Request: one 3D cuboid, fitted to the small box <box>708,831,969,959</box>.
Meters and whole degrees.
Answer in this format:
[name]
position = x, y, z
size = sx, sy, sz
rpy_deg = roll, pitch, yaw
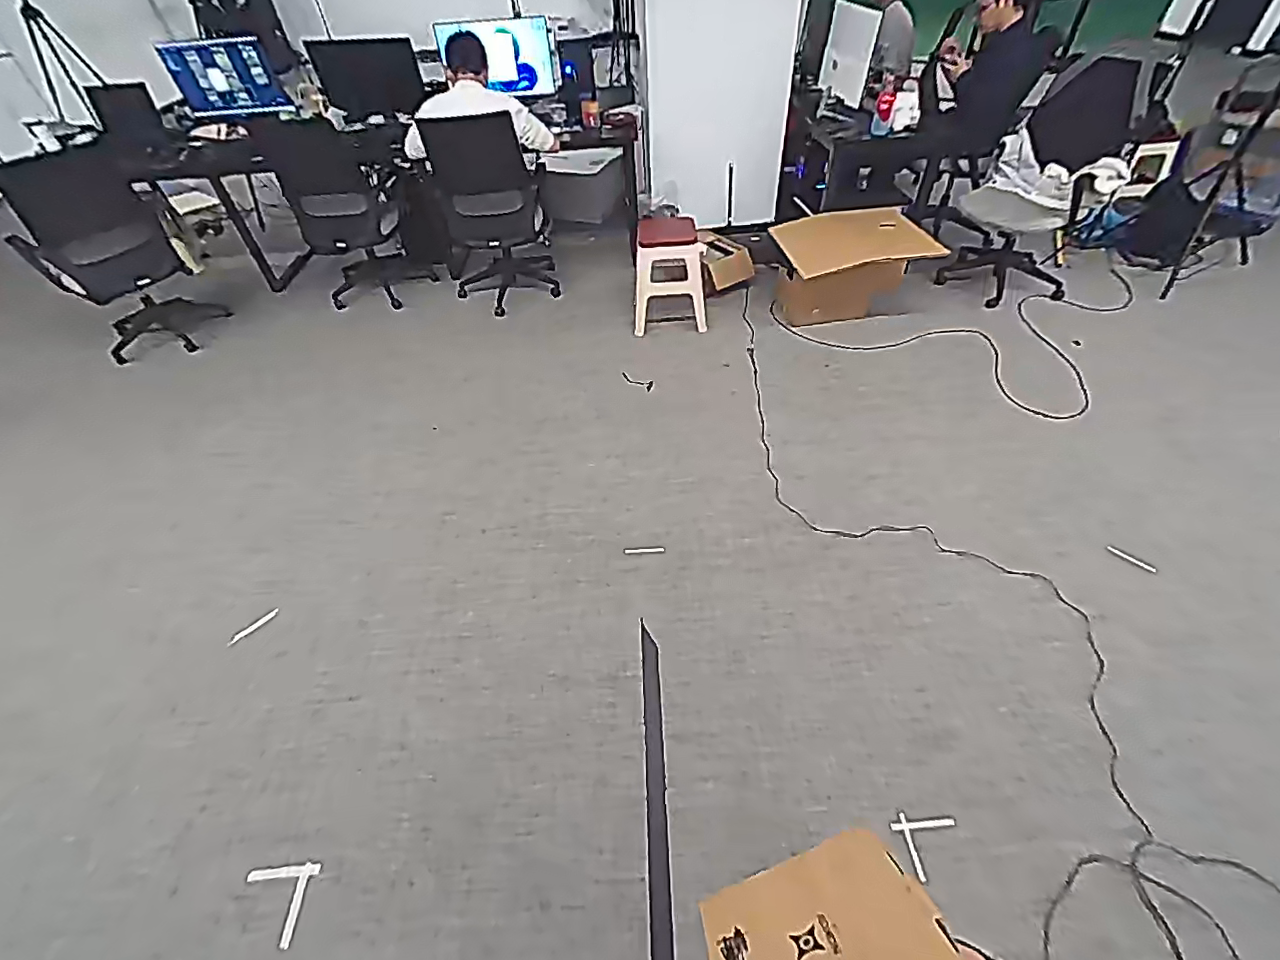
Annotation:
[small box]
position = 0.175, 0.439, 0.432
size = 0.179, 0.168, 0.176
rpy_deg = -21, 90, -2
